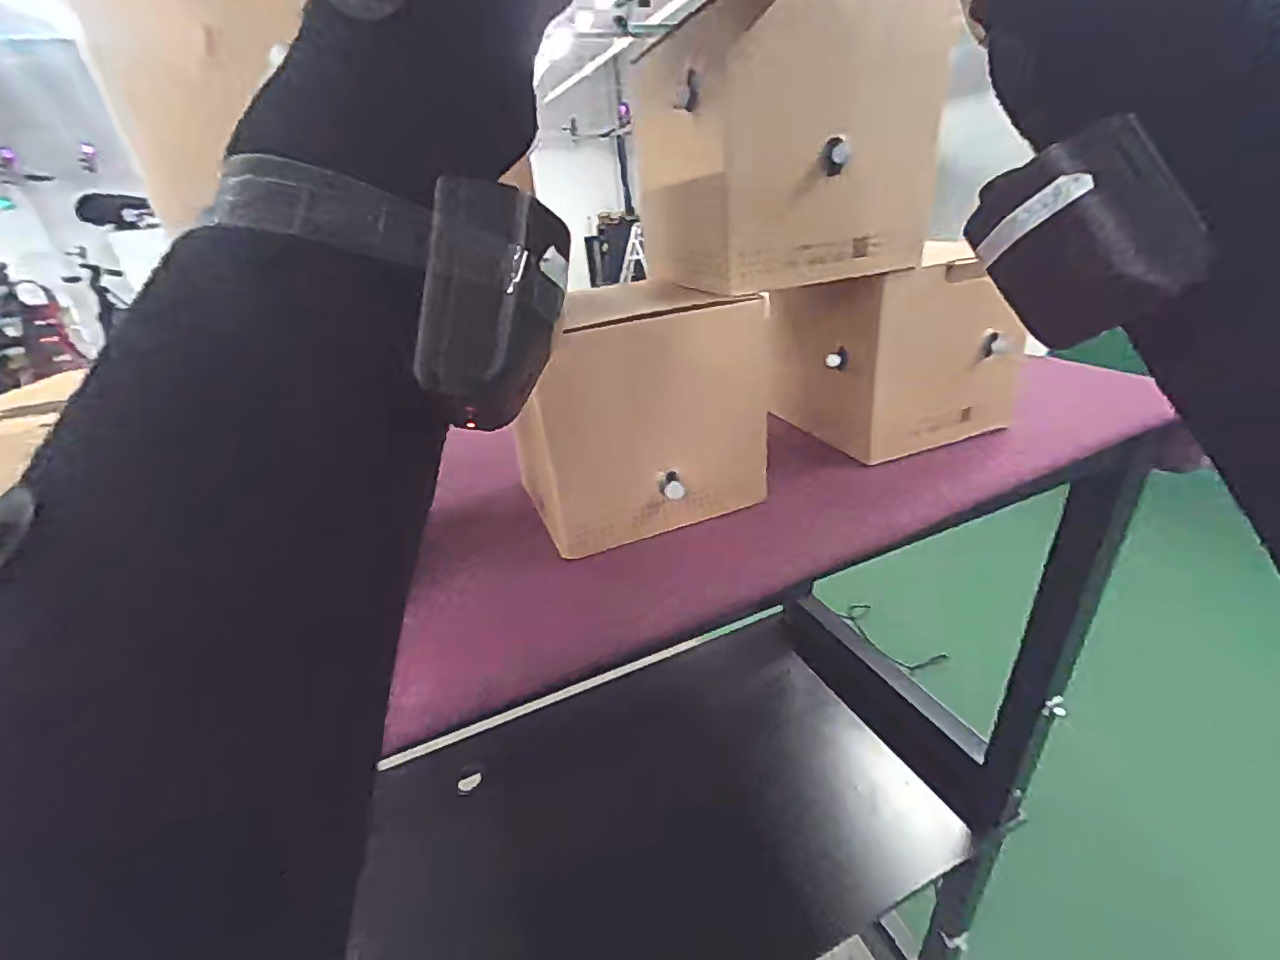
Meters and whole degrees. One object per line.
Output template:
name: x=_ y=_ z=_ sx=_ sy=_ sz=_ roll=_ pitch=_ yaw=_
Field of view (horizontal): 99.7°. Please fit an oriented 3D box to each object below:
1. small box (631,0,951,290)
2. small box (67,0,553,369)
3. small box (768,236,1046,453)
small box: x=0.103 y=-0.250 z=0.424 sx=0.168 sy=0.176 sz=0.179 roll=-13 pitch=28 yaw=-14
small box: x=-0.165 y=-0.174 z=0.332 sx=0.179 sy=0.176 sz=0.168 roll=-14 pitch=28 yaw=-16
small box: x=0.242 y=-0.136 z=0.534 sx=0.168 sy=0.176 sz=0.179 roll=-14 pitch=27 yaw=-14
